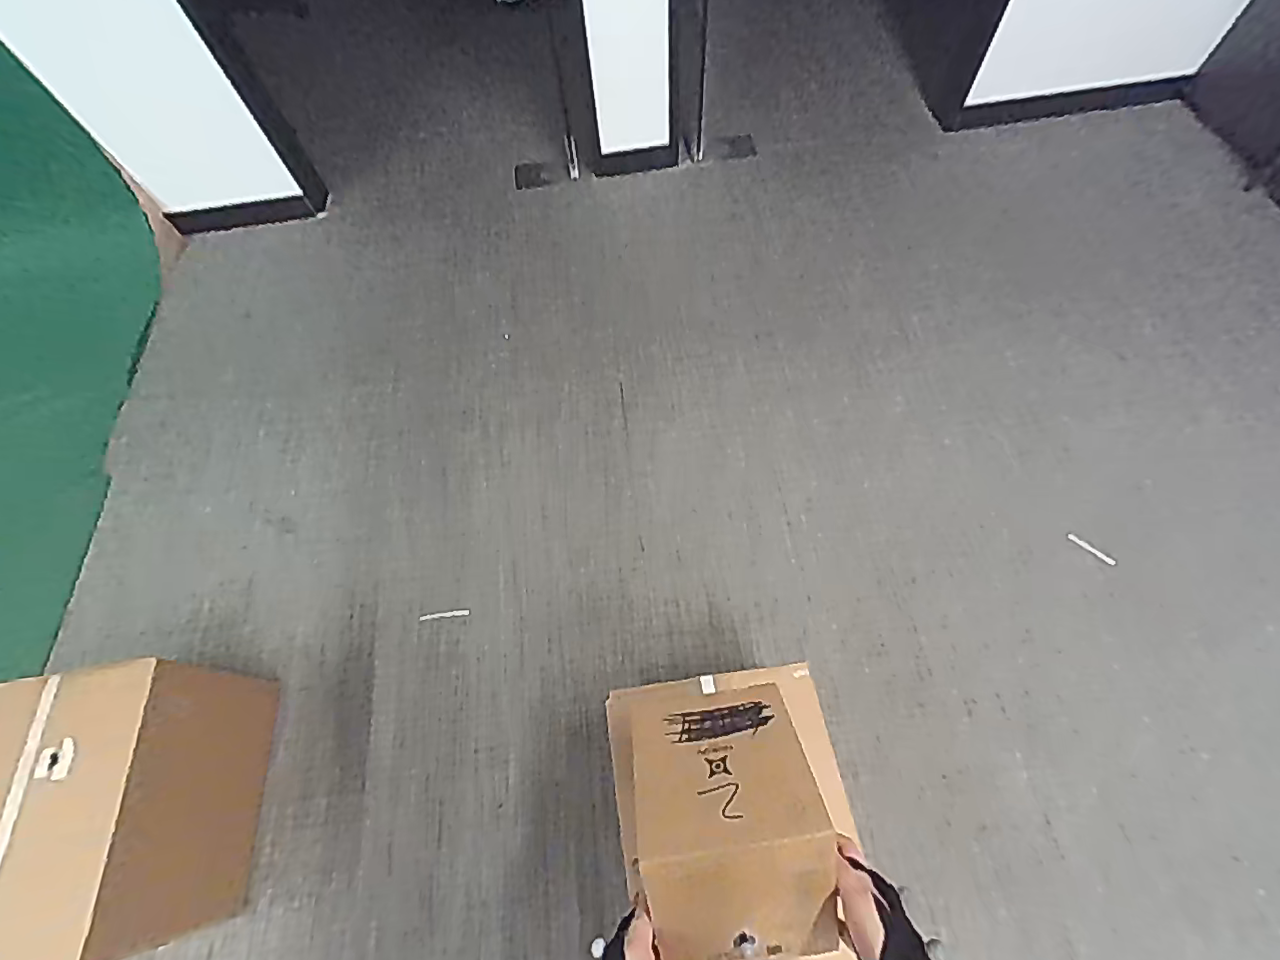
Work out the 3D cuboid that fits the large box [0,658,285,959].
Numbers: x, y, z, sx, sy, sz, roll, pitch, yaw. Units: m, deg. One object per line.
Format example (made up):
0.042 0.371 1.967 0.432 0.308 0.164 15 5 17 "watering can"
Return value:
-0.878 0.558 0.924 0.320 0.320 0.408 -10 62 0 "large box"
